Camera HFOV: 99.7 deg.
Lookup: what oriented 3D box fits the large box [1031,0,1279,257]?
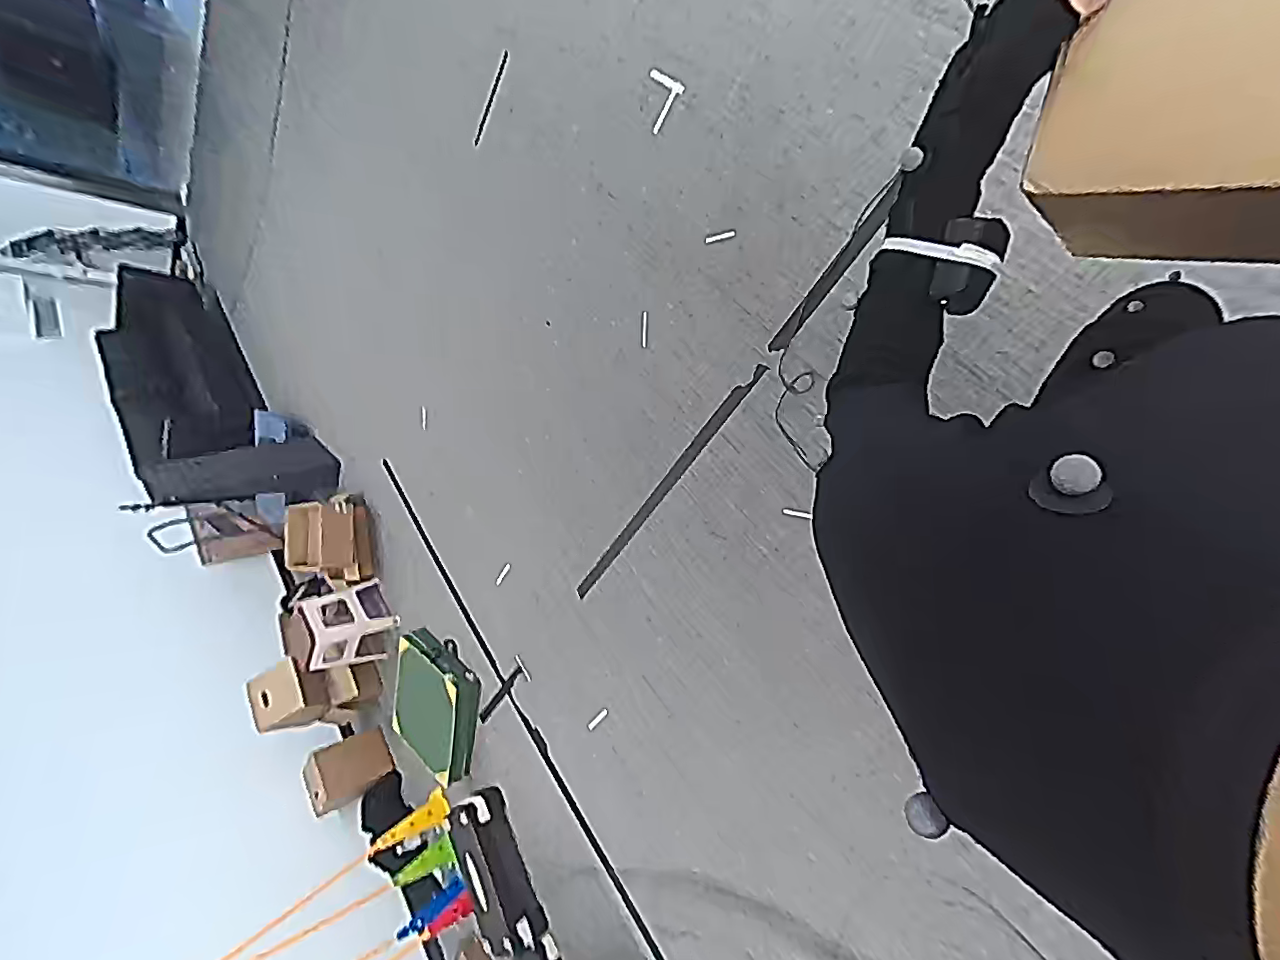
[{"bbox_3d":[0.537,-0.321,0.329,0.408,0.320,0.320,22,114,38],"label":"large box"}]
